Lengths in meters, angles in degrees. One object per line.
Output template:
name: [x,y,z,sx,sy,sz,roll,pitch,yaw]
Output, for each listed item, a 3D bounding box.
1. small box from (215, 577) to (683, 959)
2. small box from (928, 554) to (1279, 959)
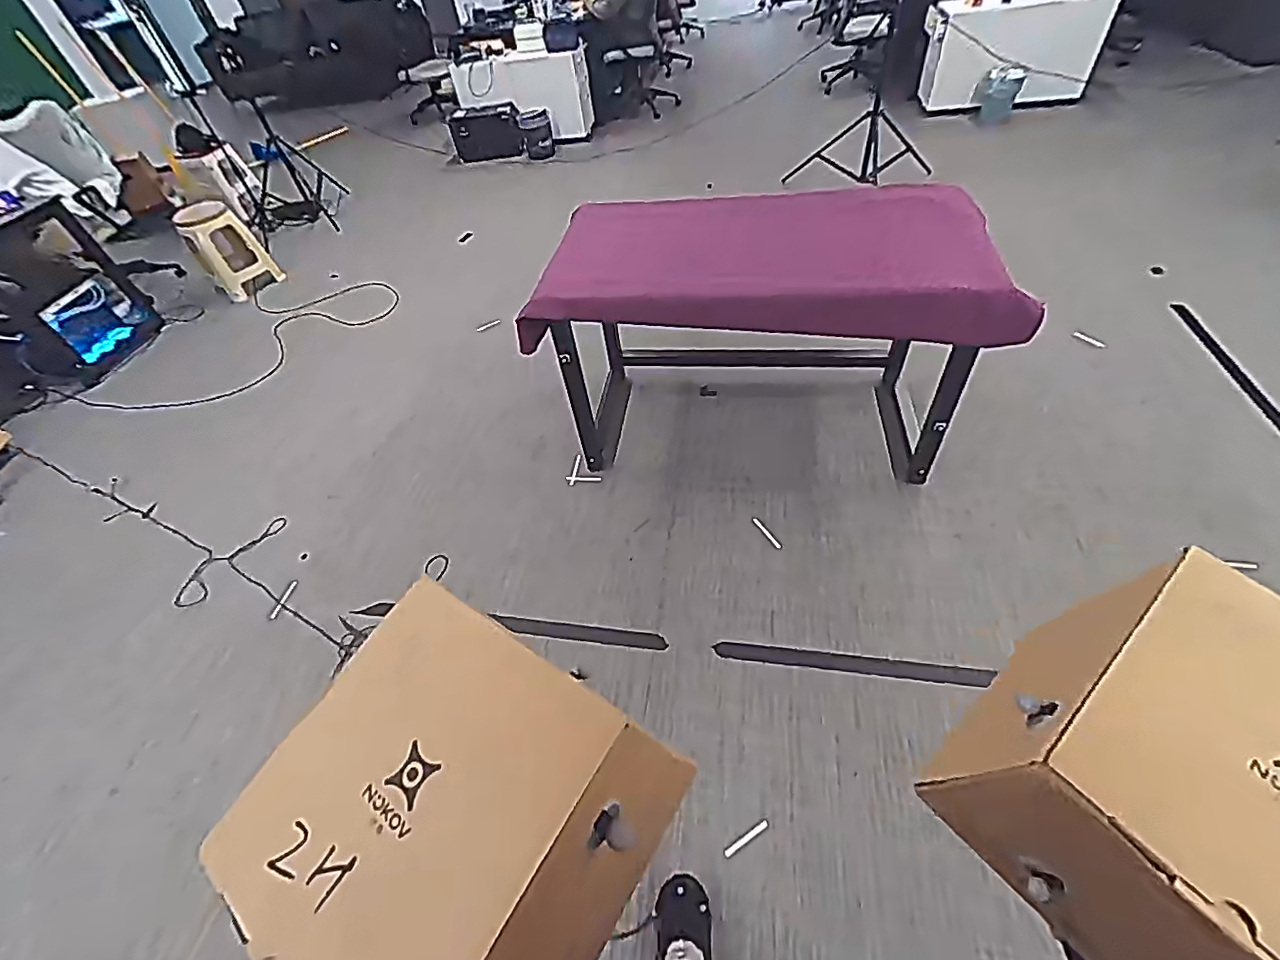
small box: [-0.088,0.195,0.331,0.168,0.176,0.179,22,67,31]
small box: [0.315,0.183,0.326,0.179,0.176,0.168,-37,63,-19]
